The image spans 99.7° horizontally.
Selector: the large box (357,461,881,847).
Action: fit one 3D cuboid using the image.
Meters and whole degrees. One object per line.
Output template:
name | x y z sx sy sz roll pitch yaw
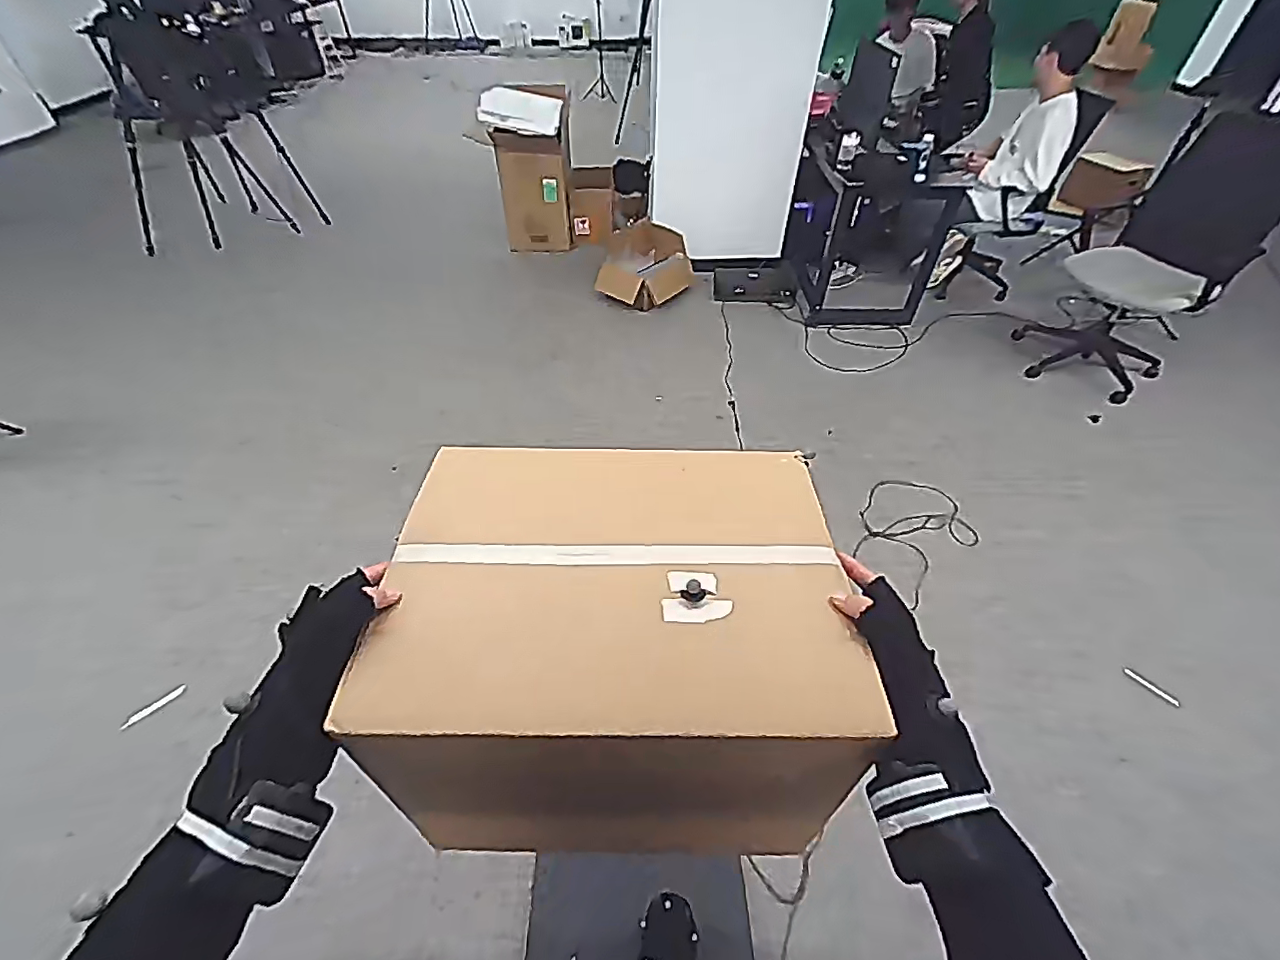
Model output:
large box | -0.019 0.191 0.612 0.408 0.320 0.320 1 43 0
